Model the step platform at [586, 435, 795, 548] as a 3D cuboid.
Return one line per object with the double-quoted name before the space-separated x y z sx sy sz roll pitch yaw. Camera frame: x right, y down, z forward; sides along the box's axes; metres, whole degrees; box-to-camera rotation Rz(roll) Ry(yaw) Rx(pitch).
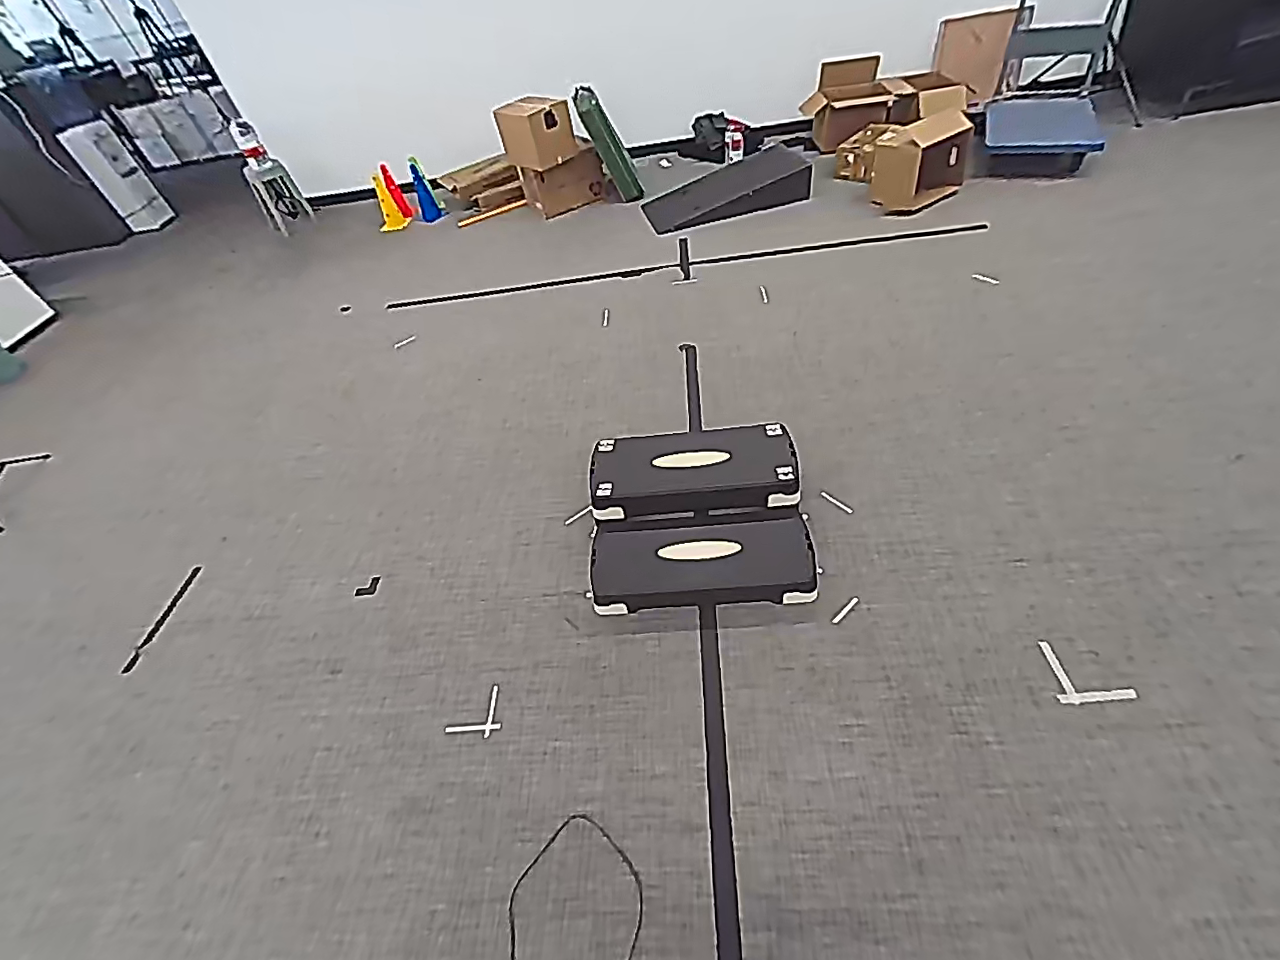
"step platform" 0.161 0.033 1.800 0.684 0.204 0.286 -5 47 5
